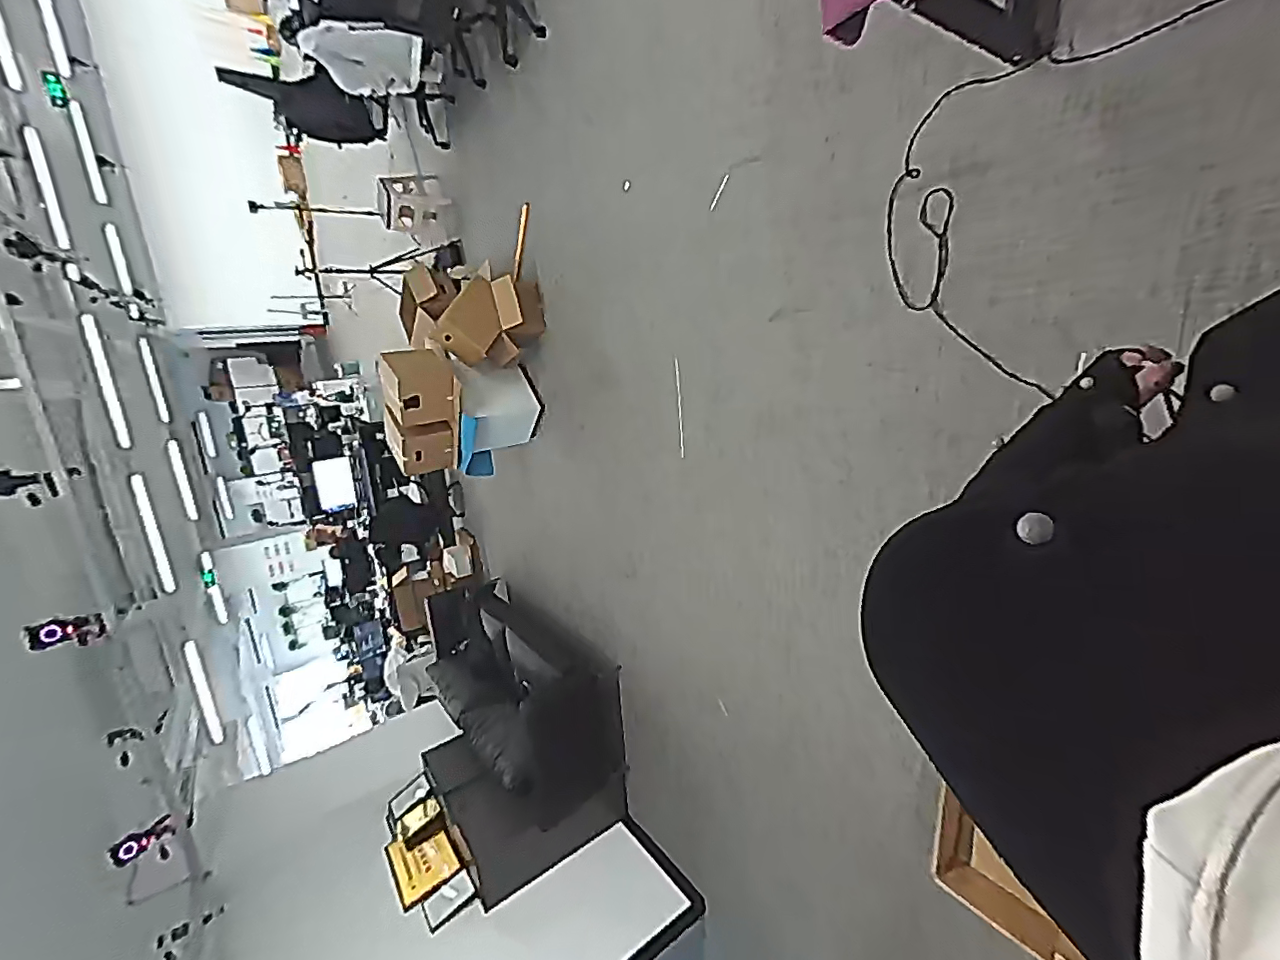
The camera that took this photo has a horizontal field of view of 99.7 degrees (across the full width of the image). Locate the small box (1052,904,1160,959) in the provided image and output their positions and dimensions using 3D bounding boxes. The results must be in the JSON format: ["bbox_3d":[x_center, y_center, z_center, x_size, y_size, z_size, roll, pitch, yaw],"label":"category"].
[{"bbox_3d":[1.105,1.183,1.288,0.168,0.176,0.179,12,113,52],"label":"small box"}]
